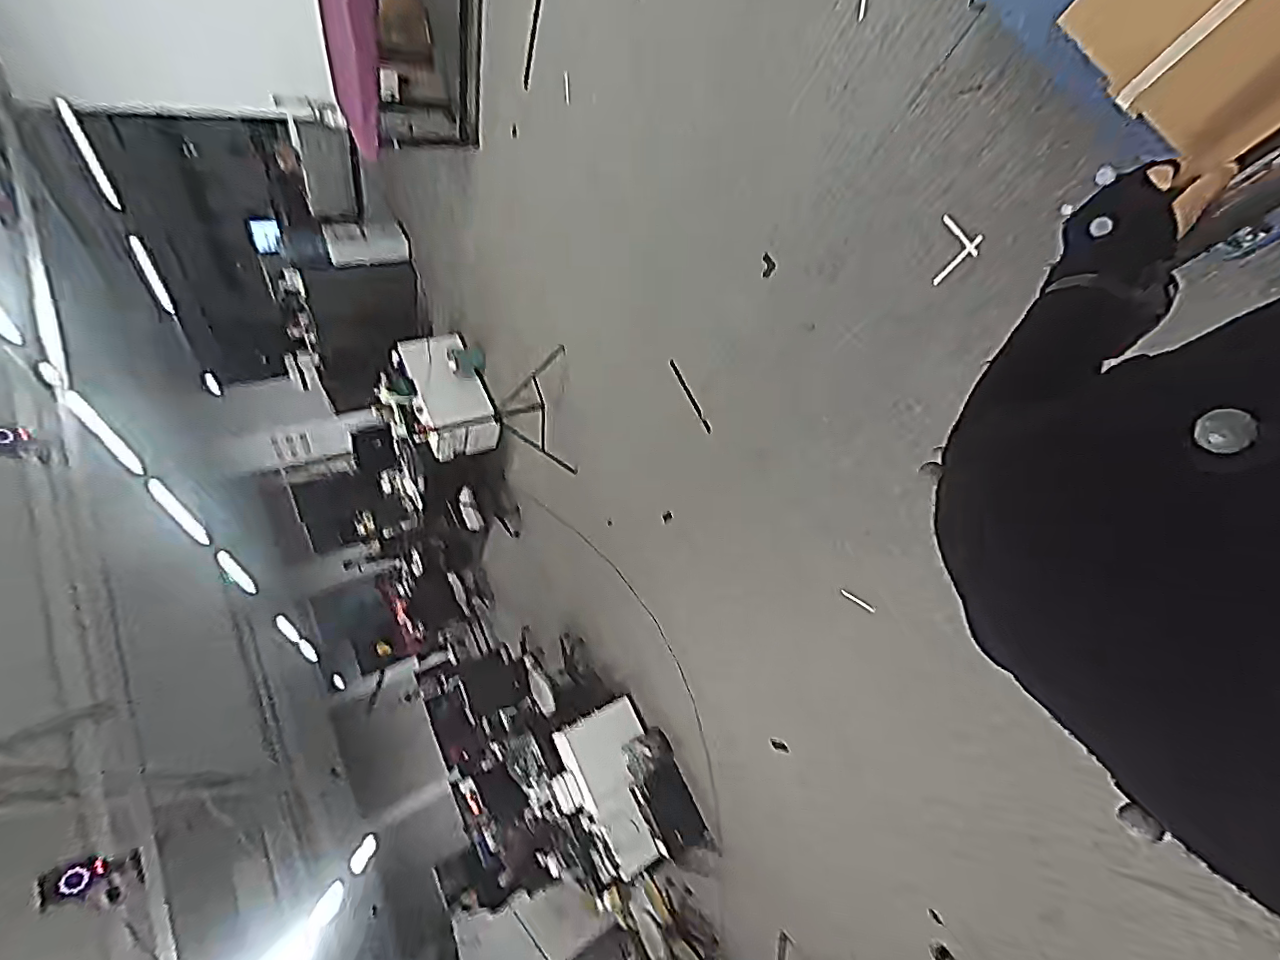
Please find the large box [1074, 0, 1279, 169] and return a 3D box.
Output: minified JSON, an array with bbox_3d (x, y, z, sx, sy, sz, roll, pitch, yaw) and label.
[{"bbox_3d":[0.868,-0.652,0.638,0.320,0.320,0.408,63,149,13],"label":"large box"}]
